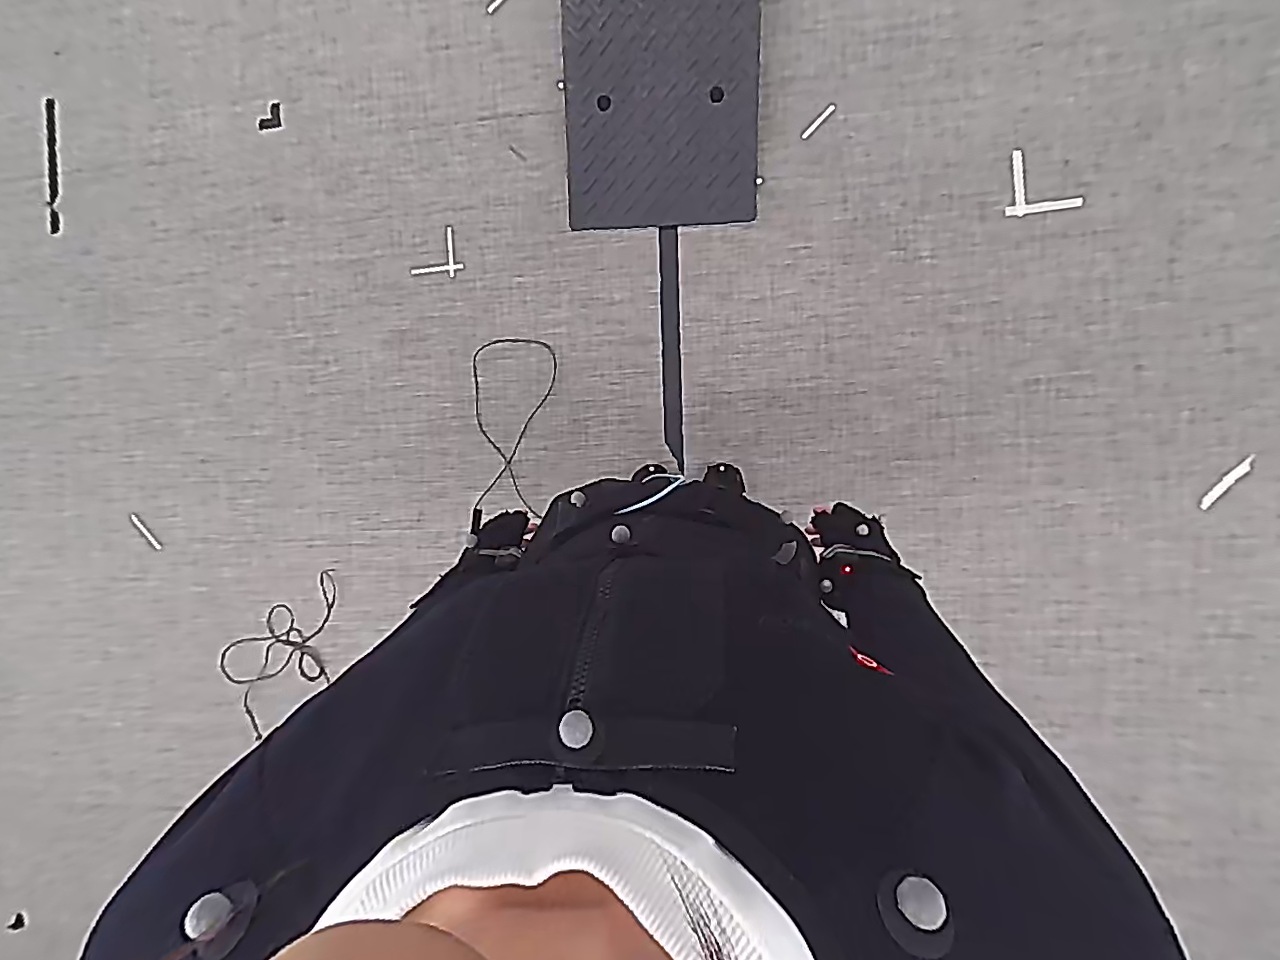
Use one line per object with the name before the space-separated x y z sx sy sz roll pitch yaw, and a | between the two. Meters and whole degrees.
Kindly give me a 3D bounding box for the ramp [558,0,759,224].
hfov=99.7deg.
ramp | 0.043 -1.170 1.310 0.509 0.206 0.991 -2 93 6
